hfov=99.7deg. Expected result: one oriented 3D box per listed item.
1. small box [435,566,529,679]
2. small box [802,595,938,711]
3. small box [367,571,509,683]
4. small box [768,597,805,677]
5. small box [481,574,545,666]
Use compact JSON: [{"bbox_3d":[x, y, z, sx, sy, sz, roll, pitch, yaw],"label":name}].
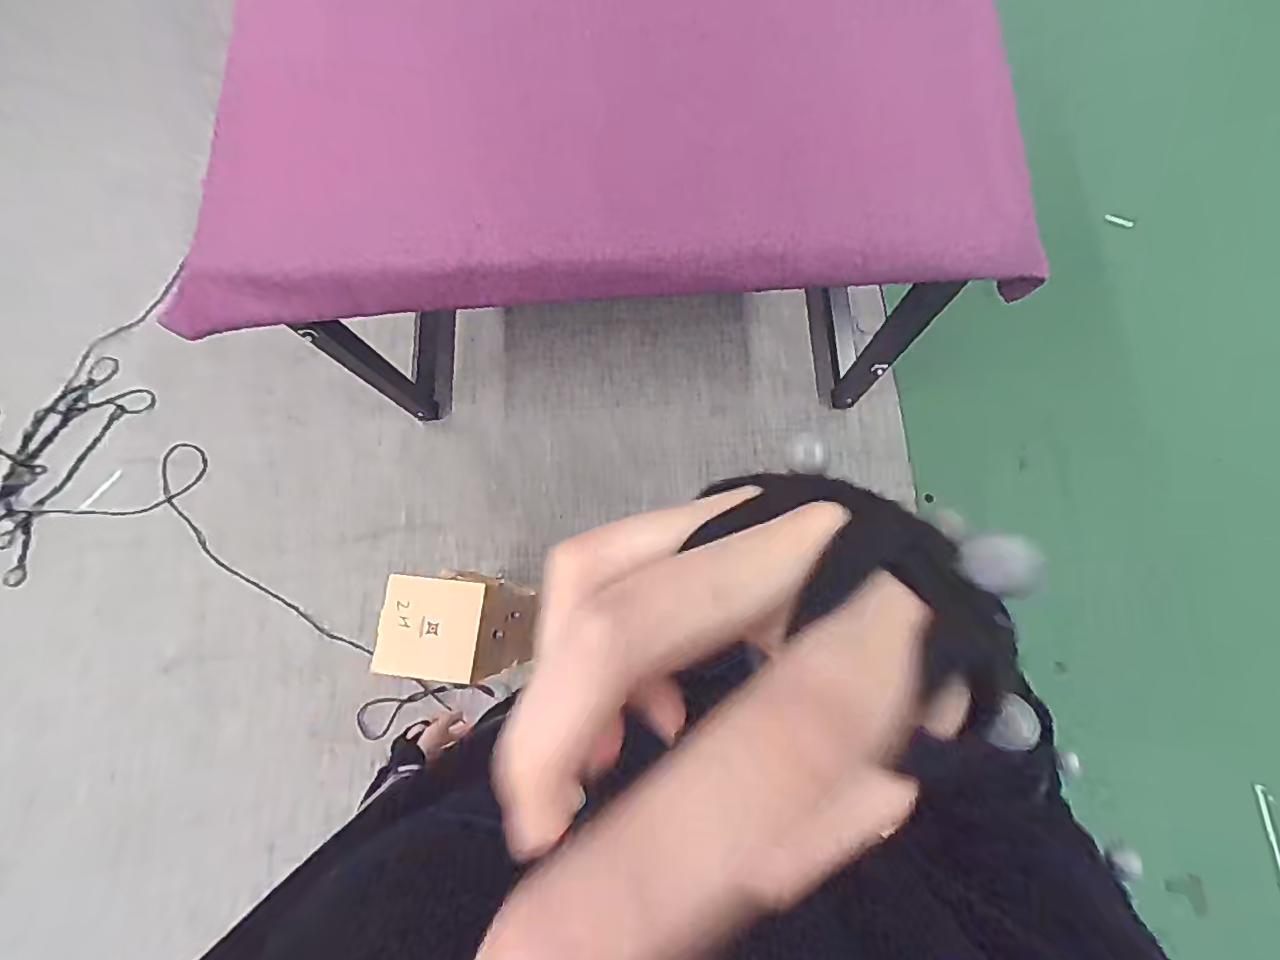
[{"bbox_3d":[-0.355,0.297,1.145,0.168,0.176,0.179,19,78,8],"label":"small box"},{"bbox_3d":[0.387,0.292,0.941,0.168,0.176,0.179,0,79,2],"label":"small box"},{"bbox_3d":[-0.354,0.262,0.984,0.179,0.176,0.168,6,77,5],"label":"small box"},{"bbox_3d":[0.402,0.370,1.260,0.179,0.176,0.168,8,78,5],"label":"small box"},{"bbox_3d":[-0.339,0.330,1.303,0.168,0.176,0.179,13,79,6],"label":"small box"}]
